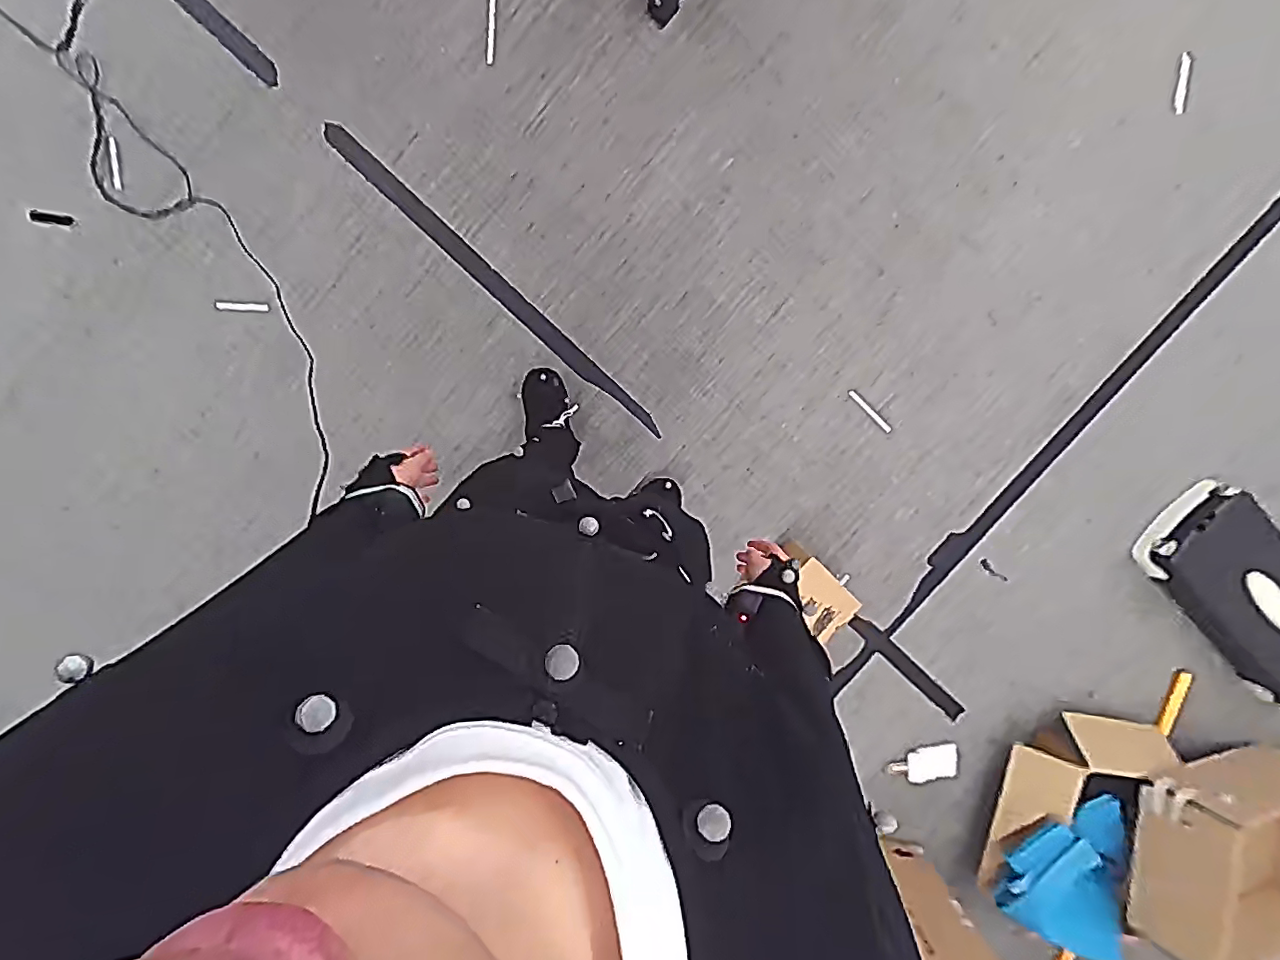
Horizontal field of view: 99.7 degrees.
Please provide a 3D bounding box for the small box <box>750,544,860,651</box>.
[{"bbox_3d":[0.405,0.284,1.355,0.179,0.176,0.168,44,94,-7],"label":"small box"}]
